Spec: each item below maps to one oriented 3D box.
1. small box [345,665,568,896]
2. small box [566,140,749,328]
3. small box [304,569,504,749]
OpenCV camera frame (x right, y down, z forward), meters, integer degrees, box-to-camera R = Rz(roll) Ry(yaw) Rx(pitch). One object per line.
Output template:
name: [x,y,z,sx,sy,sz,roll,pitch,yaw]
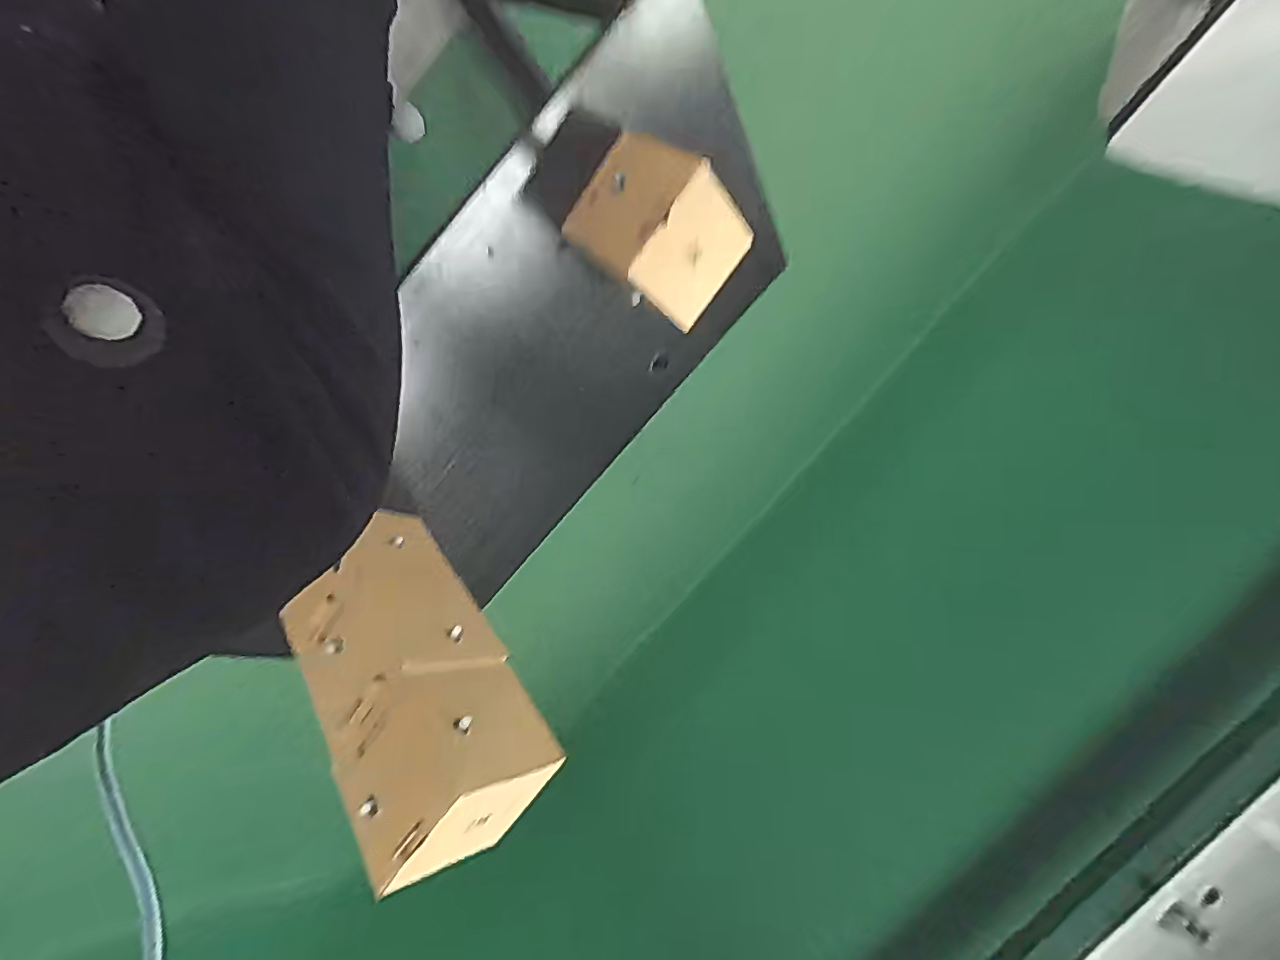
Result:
small box: [-0.234,0.357,0.682,0.168,0.176,0.179,-52,148,11]
small box: [0.026,-0.368,0.811,0.168,0.176,0.179,-52,146,12]
small box: [-0.338,0.244,0.776,0.168,0.176,0.179,-53,147,10]
